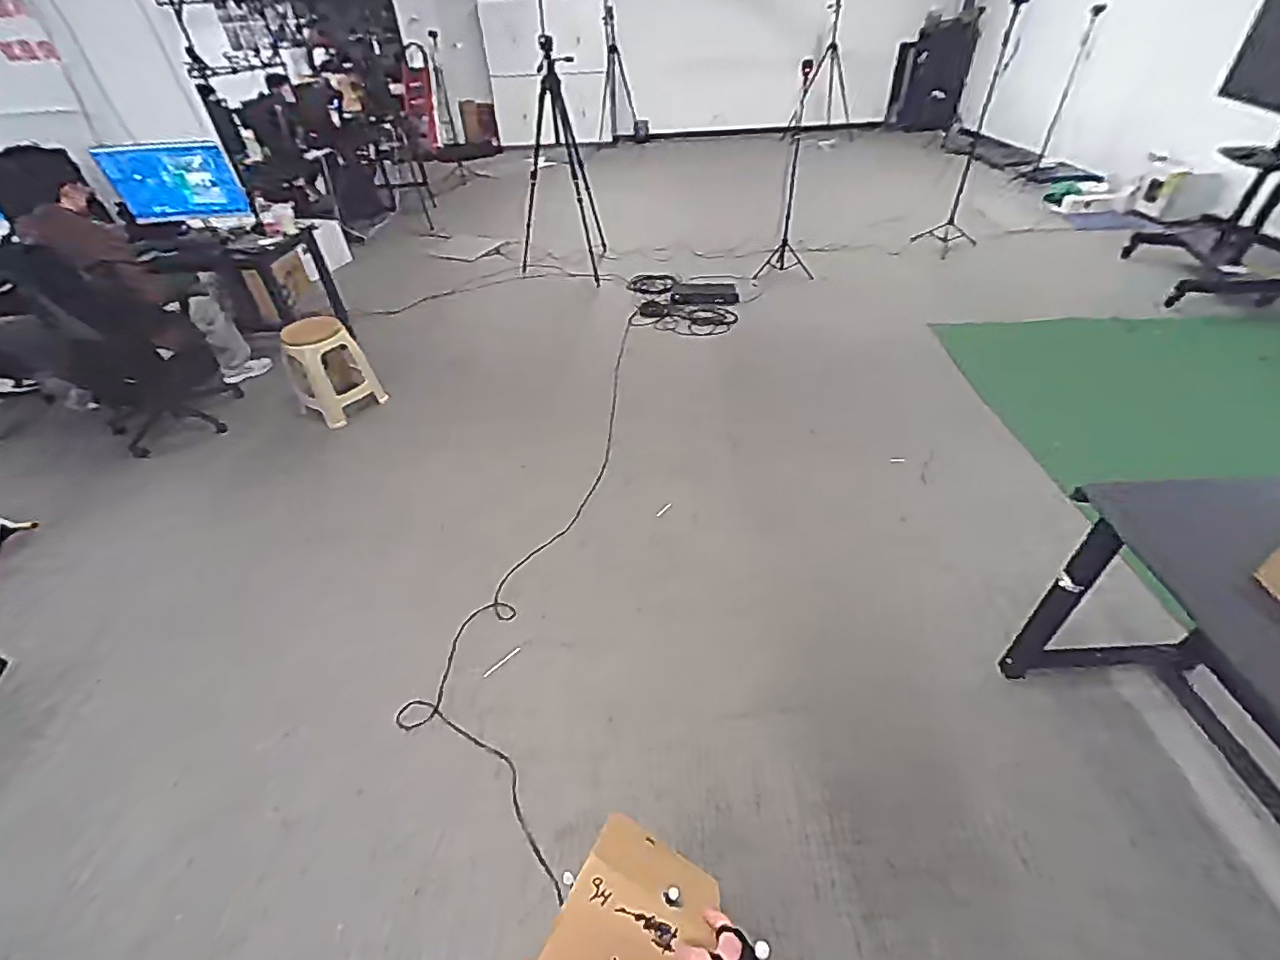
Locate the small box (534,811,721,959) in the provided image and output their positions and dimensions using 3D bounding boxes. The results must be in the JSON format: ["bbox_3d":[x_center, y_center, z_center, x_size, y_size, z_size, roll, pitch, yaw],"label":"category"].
[{"bbox_3d":[-0.014,0.541,0.640,0.168,0.176,0.179,27,79,14],"label":"small box"}]
